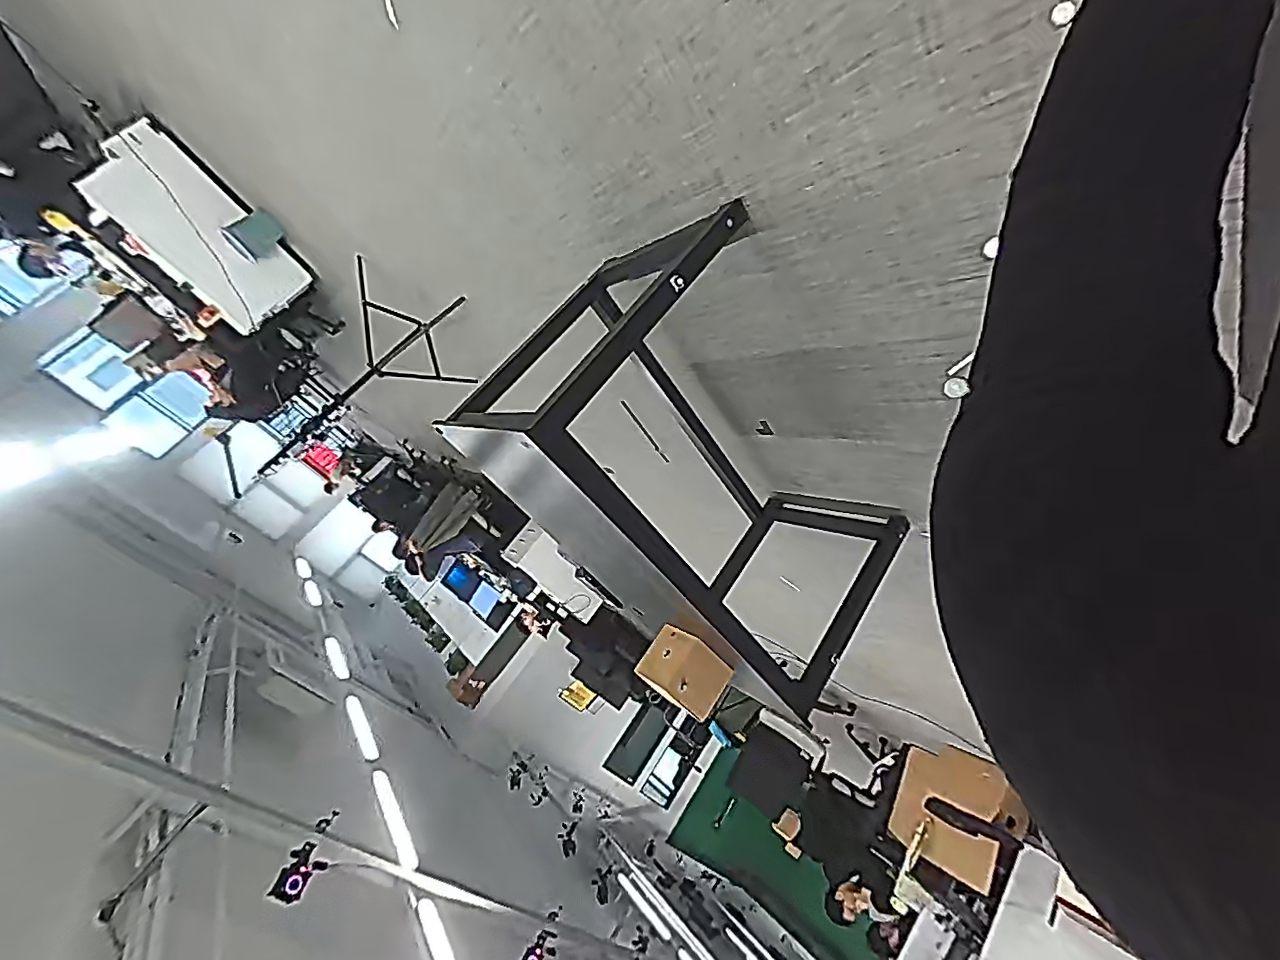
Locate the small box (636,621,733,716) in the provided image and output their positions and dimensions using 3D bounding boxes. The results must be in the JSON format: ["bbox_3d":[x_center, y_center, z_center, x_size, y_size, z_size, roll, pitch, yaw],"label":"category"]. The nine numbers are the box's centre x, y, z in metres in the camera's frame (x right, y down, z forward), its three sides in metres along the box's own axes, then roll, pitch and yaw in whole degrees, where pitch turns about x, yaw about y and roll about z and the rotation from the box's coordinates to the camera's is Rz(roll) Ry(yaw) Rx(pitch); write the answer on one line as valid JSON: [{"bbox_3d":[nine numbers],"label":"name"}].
[{"bbox_3d":[0.130,0.533,1.555,0.179,0.176,0.168,46,160,-23],"label":"small box"}]
